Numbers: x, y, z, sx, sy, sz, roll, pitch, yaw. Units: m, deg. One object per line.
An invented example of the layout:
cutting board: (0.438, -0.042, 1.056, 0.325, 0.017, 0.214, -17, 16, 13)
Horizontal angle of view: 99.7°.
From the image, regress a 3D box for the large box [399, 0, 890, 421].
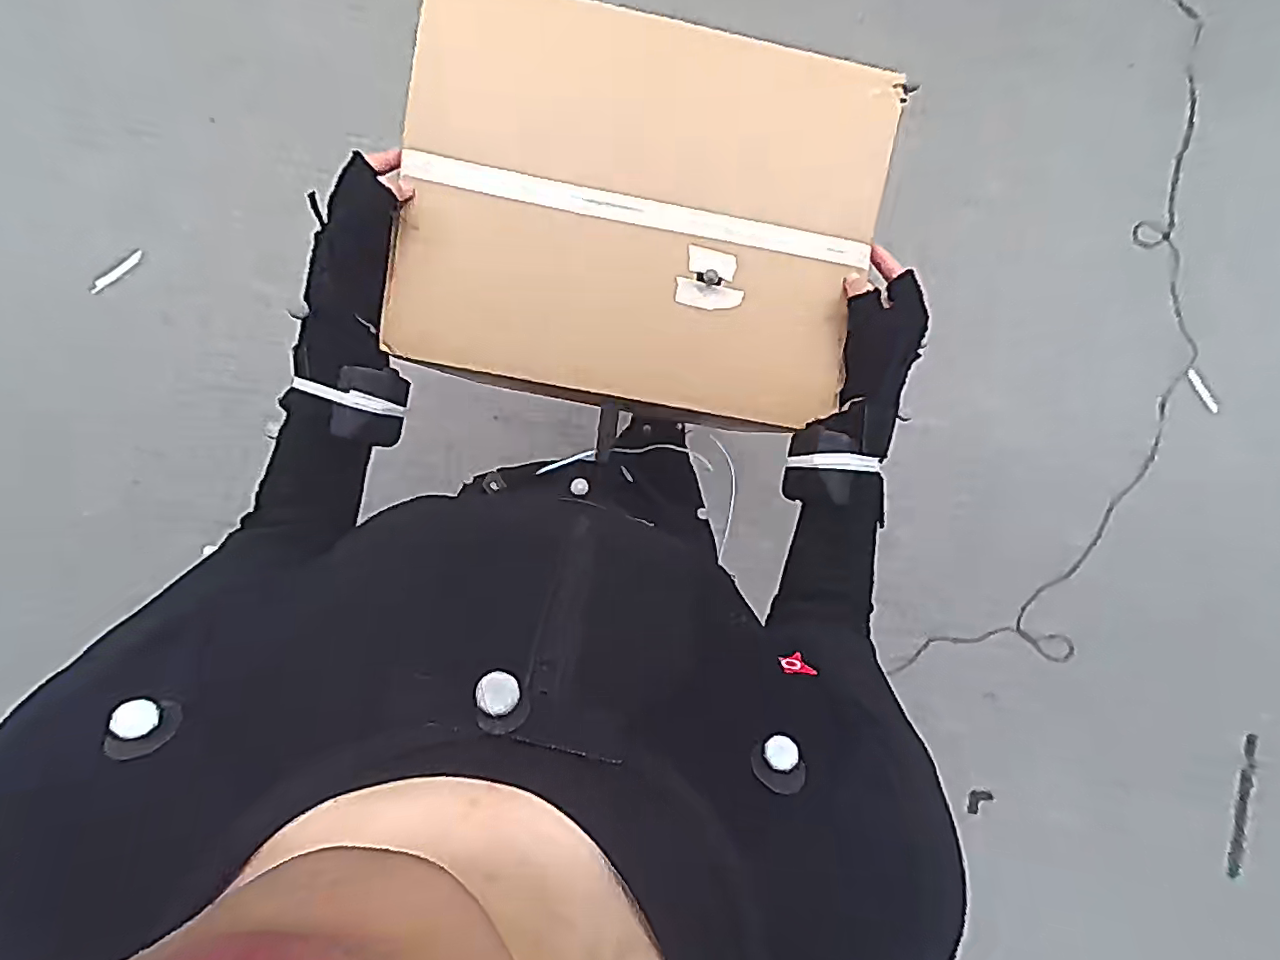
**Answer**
large box: (-0.007, -0.251, 0.624, 0.408, 0.320, 0.320, 10, 96, -5)
